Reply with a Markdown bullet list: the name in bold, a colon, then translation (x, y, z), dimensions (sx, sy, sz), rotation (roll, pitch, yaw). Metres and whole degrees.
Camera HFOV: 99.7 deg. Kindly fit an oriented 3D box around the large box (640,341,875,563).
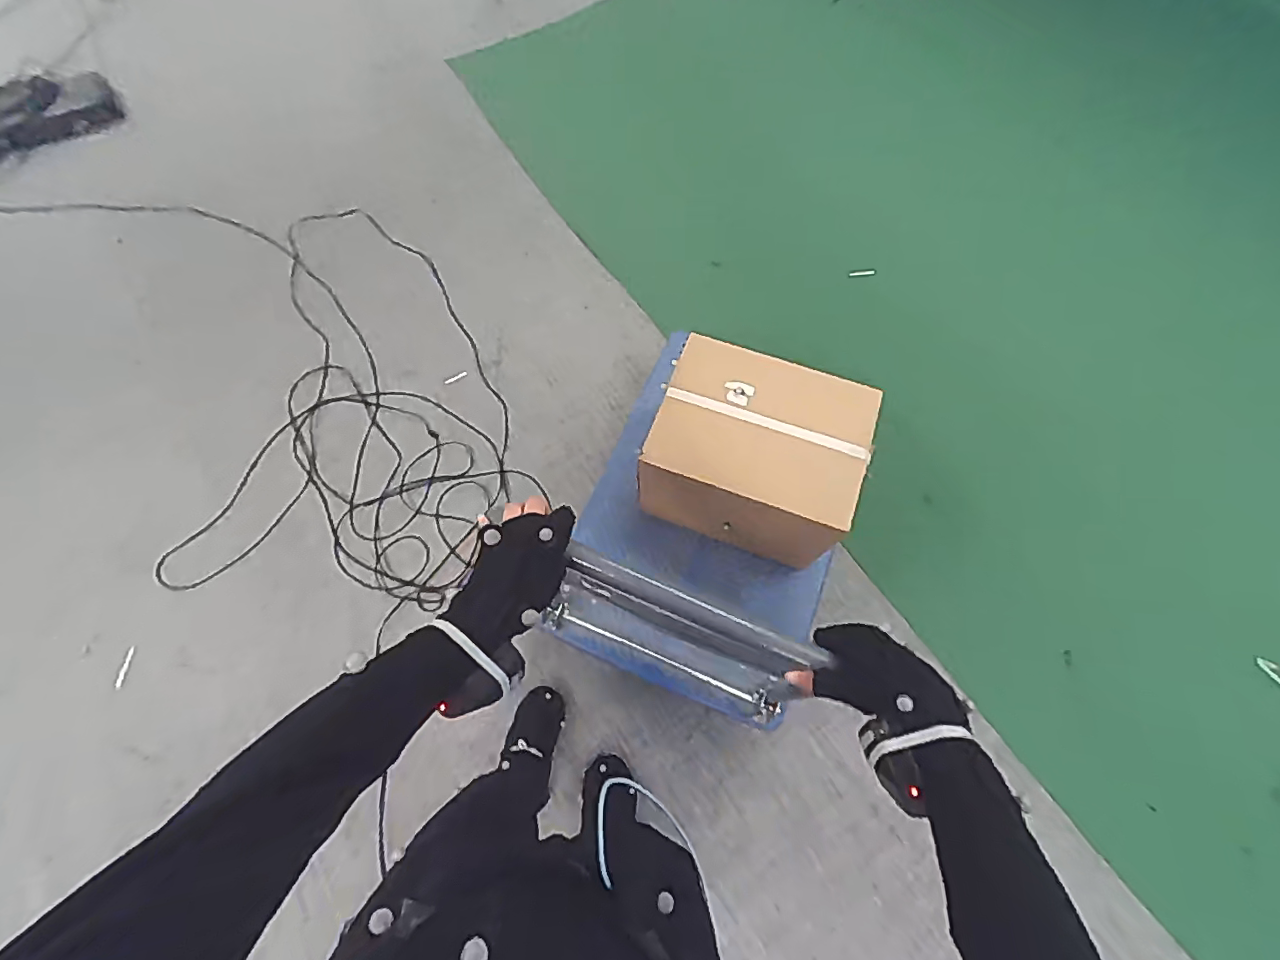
- **large box**: translation (0.241, -0.046, 1.197), dimensions (0.408, 0.320, 0.320), rotation (19, 69, 9)
